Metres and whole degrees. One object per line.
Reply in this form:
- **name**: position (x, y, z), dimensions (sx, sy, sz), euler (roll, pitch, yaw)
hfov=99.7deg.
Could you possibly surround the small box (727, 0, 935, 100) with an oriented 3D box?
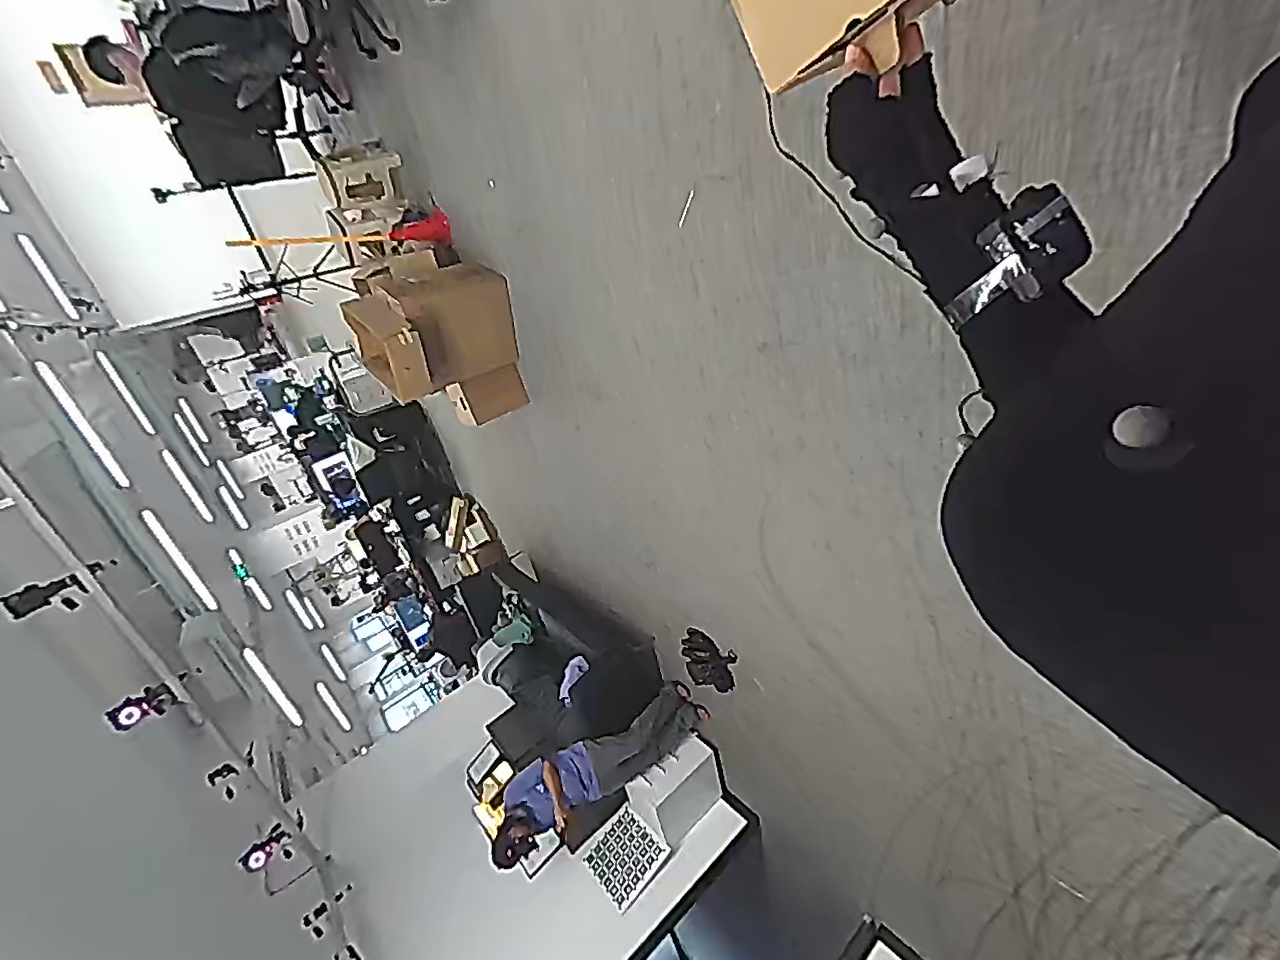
- **small box**: position (0.168, -0.441, 0.406), dimensions (0.168, 0.176, 0.179), euler (-3, 123, 56)
